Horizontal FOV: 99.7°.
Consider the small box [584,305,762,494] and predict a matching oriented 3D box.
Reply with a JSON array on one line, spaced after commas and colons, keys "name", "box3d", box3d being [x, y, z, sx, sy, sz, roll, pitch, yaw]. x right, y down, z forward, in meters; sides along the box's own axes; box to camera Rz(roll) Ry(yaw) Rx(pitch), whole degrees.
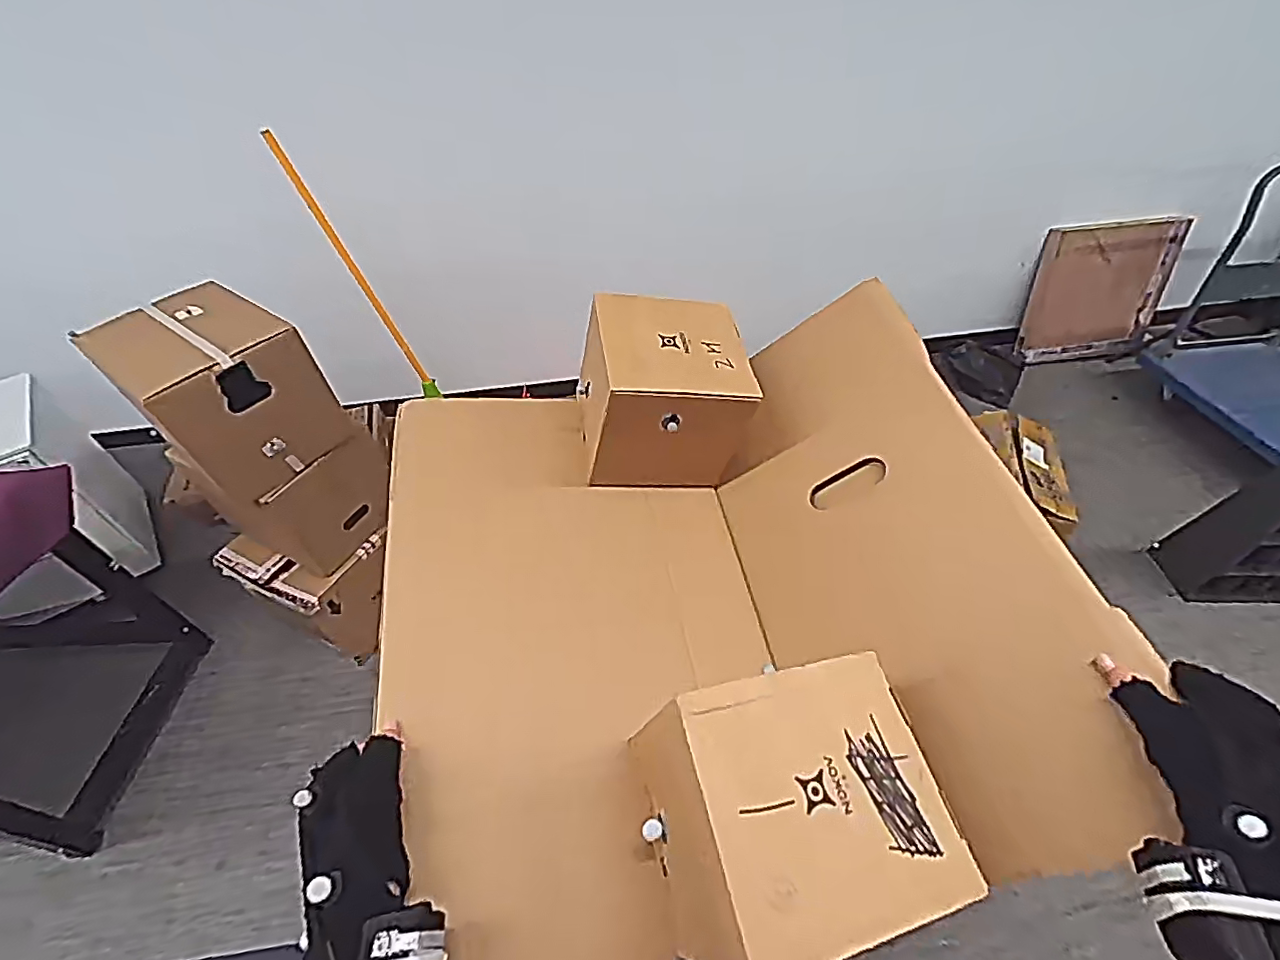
[{"name": "small box", "box3d": [0.025, -0.095, 0.681, 0.179, 0.176, 0.168, 1, 54, -15]}]
